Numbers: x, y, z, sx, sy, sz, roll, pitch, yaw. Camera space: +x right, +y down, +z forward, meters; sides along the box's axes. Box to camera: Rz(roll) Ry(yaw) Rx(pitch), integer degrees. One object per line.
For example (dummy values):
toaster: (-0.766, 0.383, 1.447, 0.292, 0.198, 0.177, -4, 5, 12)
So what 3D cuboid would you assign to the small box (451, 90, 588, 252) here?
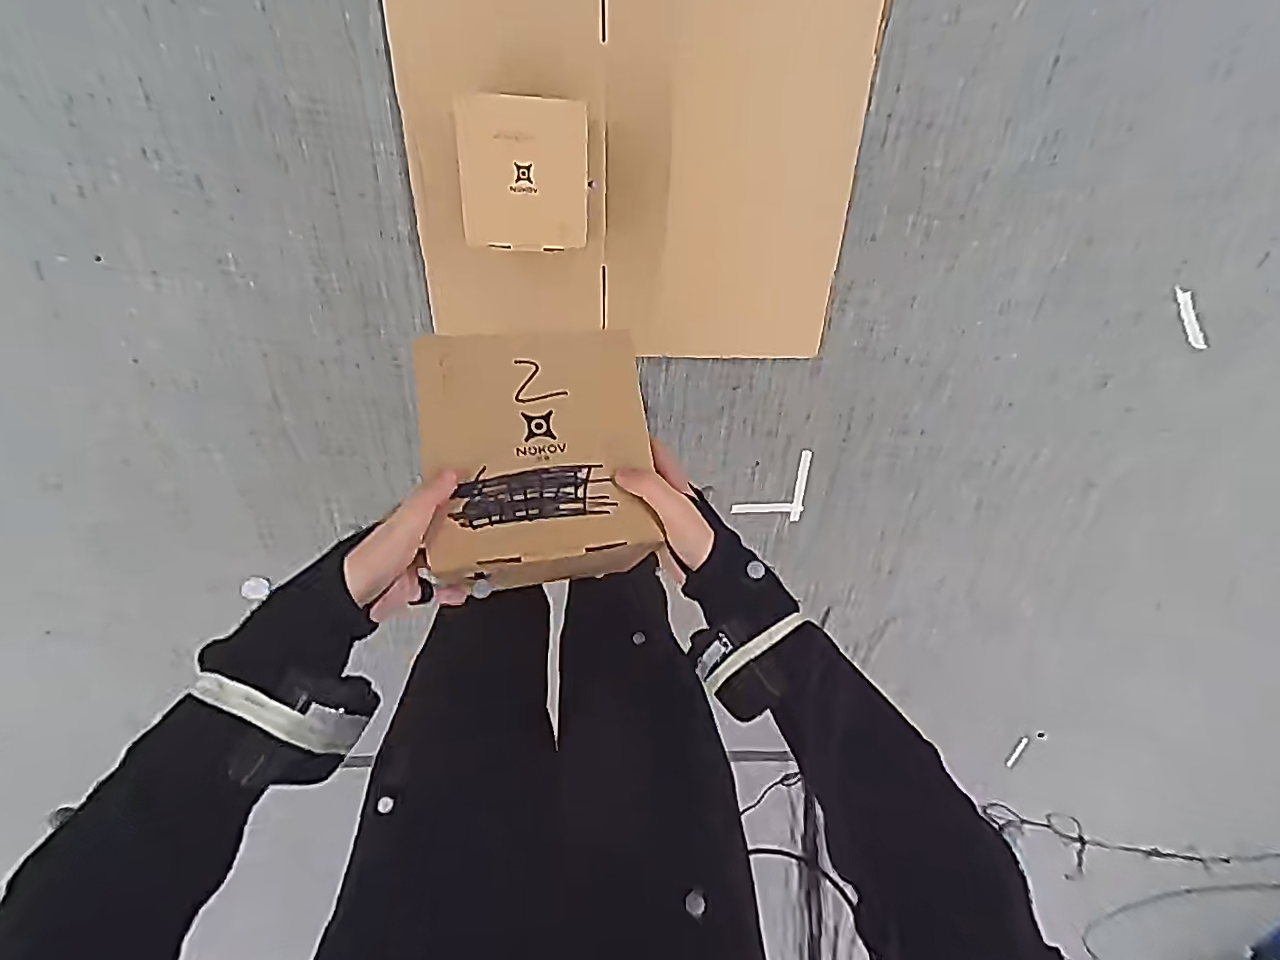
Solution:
small box: (-0.158, -0.431, 0.766, 0.168, 0.176, 0.179, 0, 119, -6)
